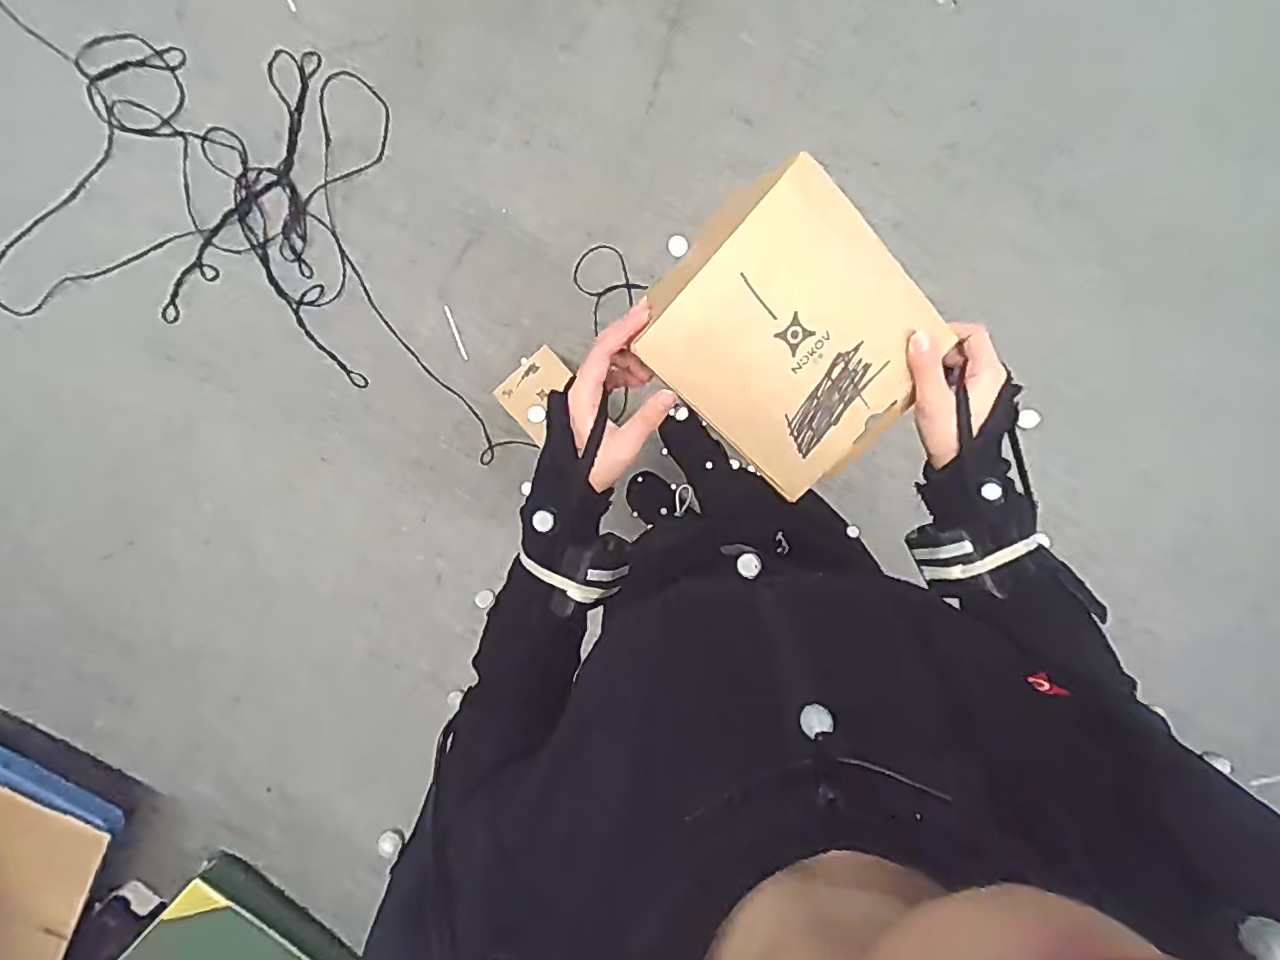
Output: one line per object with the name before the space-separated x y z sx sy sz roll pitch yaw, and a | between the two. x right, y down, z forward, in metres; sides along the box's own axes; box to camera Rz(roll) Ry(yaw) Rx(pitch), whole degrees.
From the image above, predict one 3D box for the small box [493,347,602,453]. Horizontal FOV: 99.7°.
small box | -0.206 -0.184 1.265 0.168 0.176 0.179 -41 92 4
